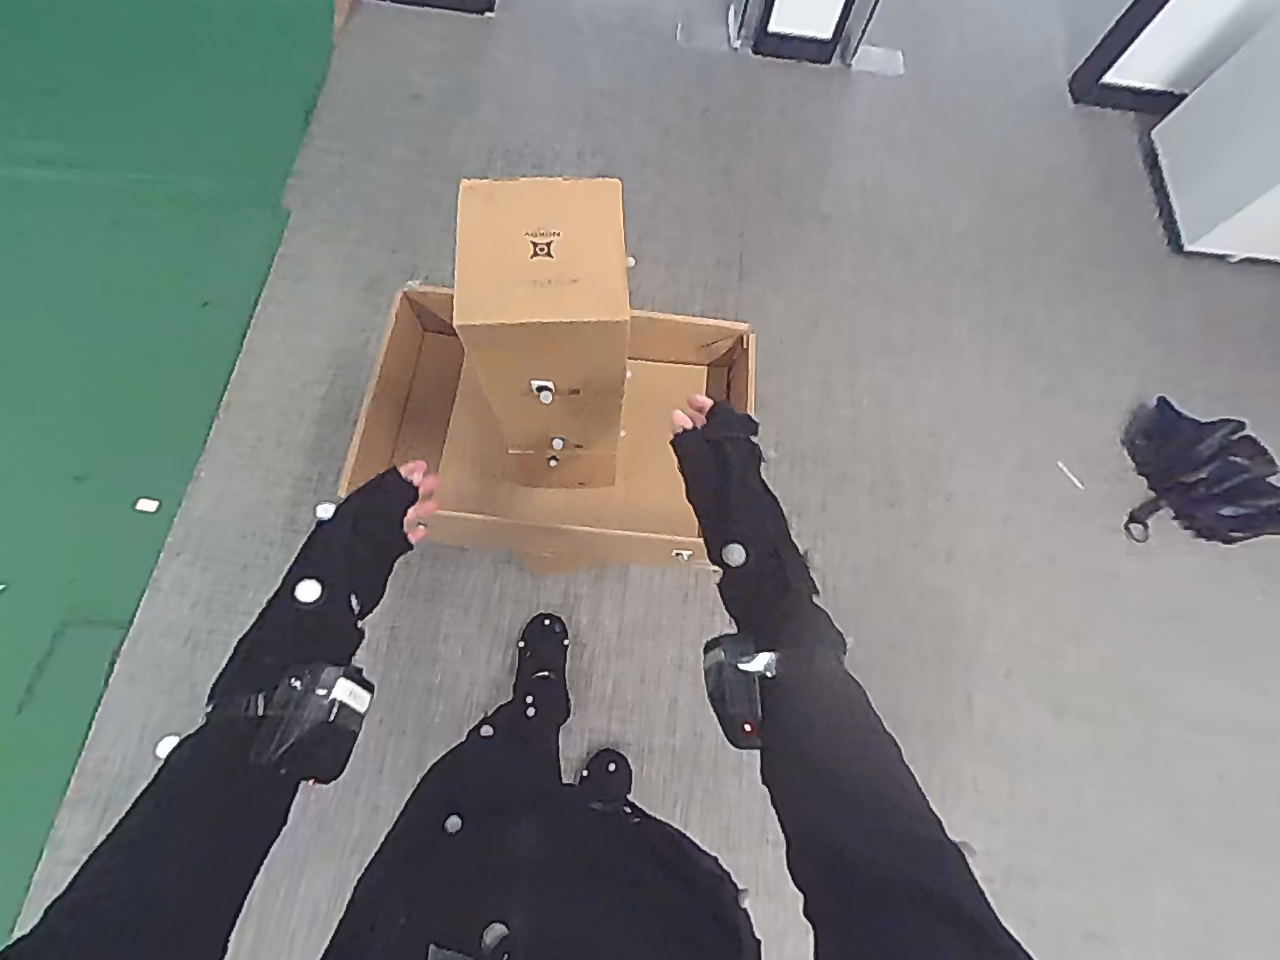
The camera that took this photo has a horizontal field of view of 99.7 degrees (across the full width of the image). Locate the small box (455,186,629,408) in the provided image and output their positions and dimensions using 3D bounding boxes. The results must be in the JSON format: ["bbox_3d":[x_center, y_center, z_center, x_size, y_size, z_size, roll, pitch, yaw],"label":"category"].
[{"bbox_3d":[-0.103,-0.199,0.614,0.168,0.176,0.179,-4,72,-4],"label":"small box"}]

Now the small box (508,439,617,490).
[{"bbox_3d":[-0.124,-0.093,0.921,0.168,0.176,0.179,-1,70,-3],"label":"small box"}]

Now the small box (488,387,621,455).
[{"bbox_3d":[-0.111,-0.149,0.767,0.168,0.176,0.179,0,72,-3],"label":"small box"}]
